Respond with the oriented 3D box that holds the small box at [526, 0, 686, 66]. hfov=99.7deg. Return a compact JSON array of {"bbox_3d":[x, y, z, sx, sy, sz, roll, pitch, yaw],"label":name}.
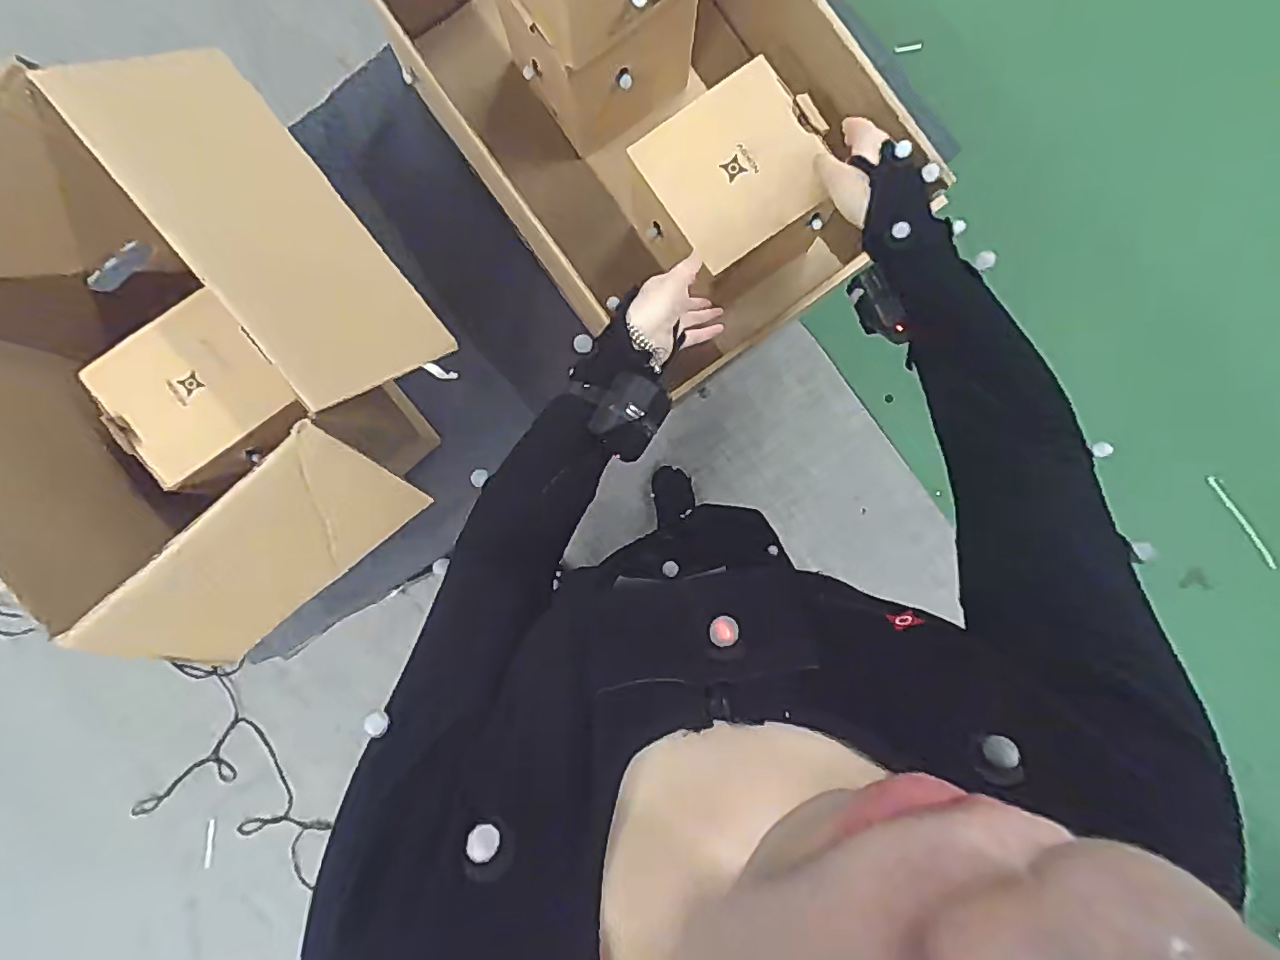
[{"bbox_3d":[-0.050,-0.534,0.478,0.168,0.176,0.179,-35,92,1],"label":"small box"}]
